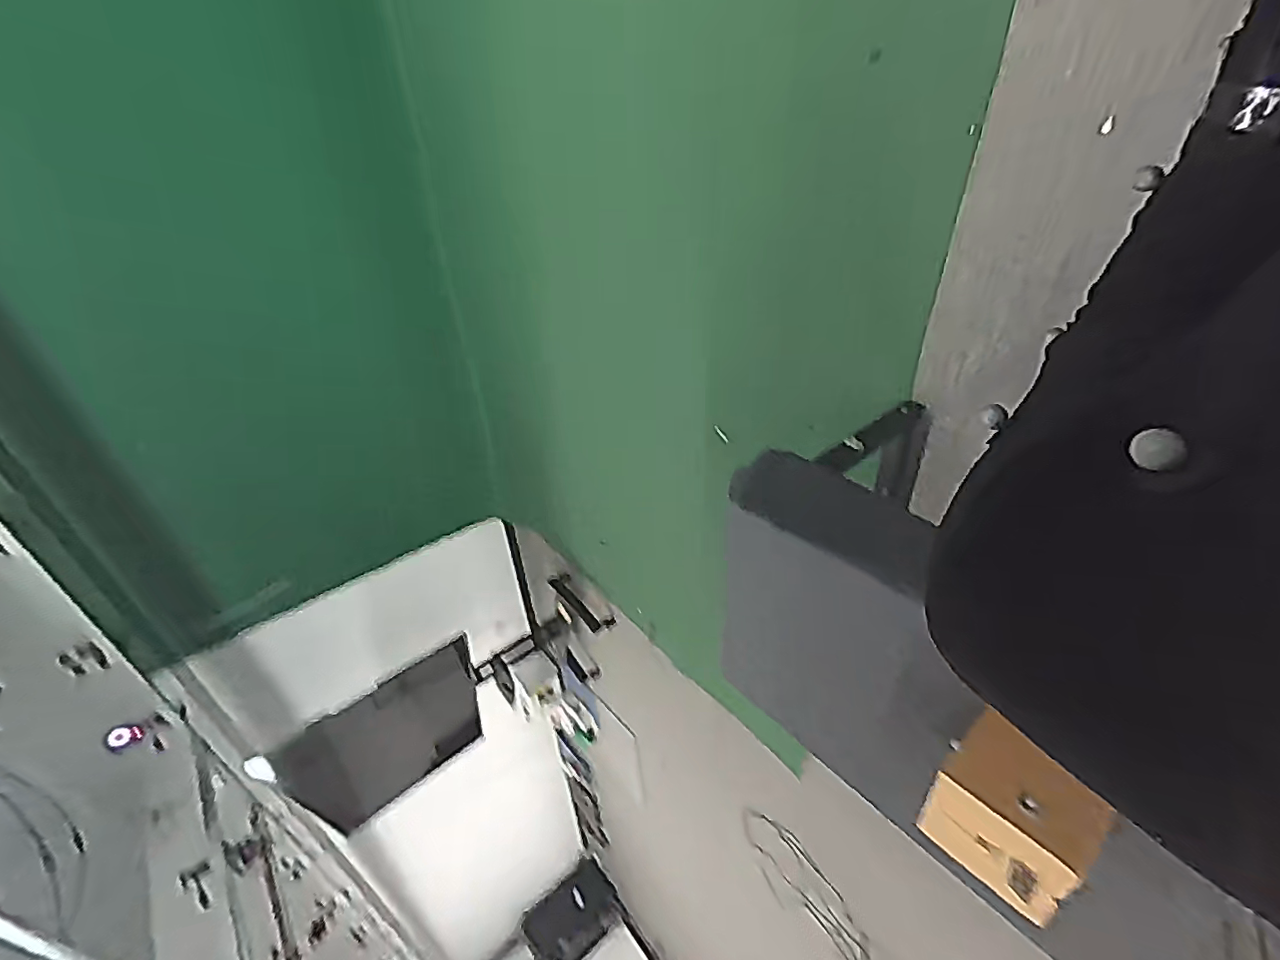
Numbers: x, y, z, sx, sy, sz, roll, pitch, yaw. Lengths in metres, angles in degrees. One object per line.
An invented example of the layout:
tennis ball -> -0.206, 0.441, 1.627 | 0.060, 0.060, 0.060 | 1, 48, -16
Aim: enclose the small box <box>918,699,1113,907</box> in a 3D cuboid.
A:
small box -> 0.561, 0.474, 0.815 | 0.179, 0.176, 0.168 | 32, 139, 43
